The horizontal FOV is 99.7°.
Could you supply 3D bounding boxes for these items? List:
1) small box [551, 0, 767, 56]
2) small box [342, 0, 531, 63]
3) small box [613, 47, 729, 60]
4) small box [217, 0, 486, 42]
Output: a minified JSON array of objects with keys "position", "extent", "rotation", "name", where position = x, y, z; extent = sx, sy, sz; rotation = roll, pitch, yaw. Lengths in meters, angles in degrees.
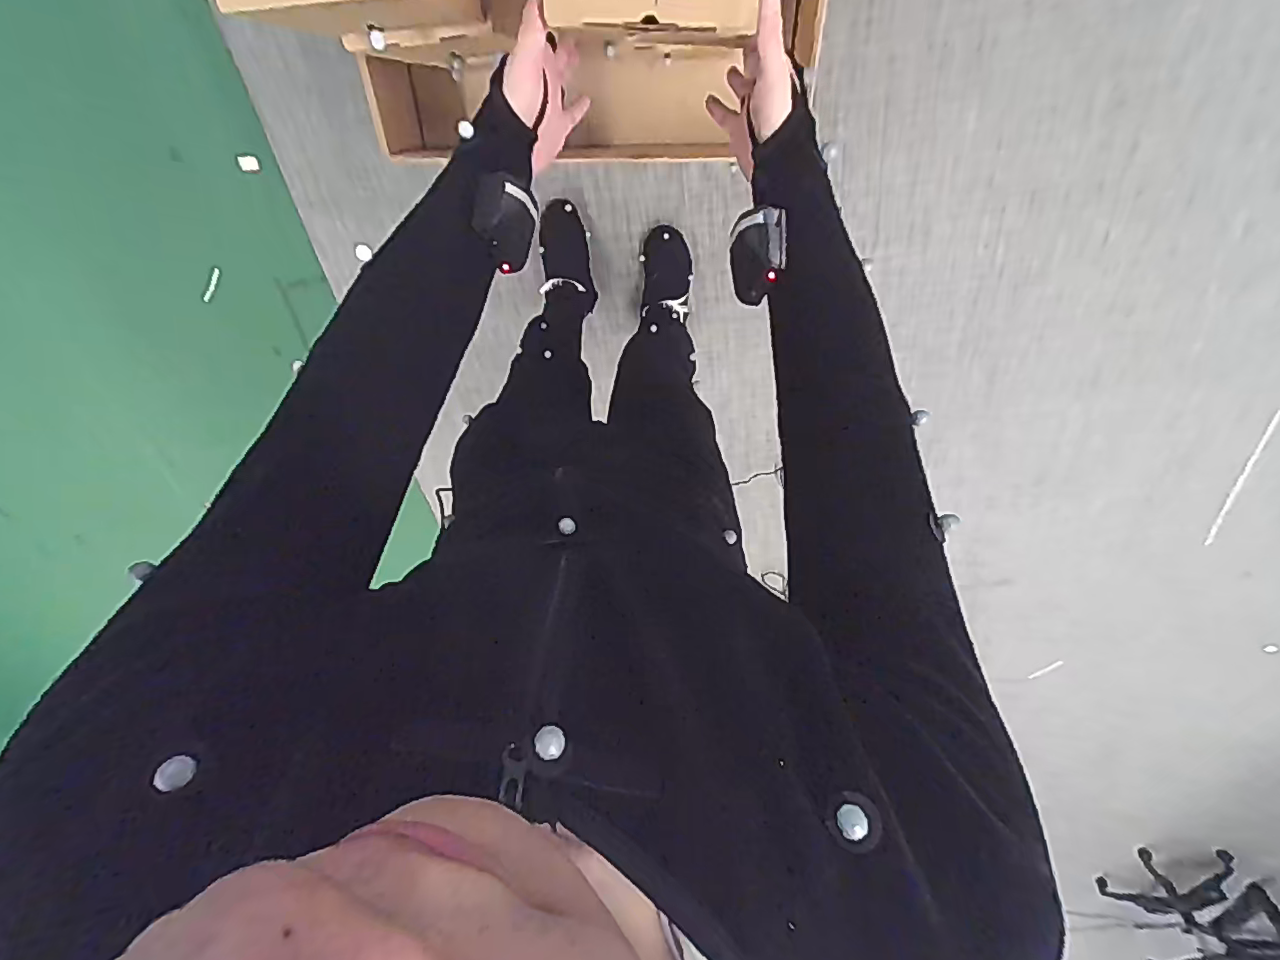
[{"position":[0.024,-0.452,0.429],"extent":[0.168,0.176,0.179],"rotation":[5,127,2],"name":"small box"},{"position":[-0.224,-0.561,0.571],"extent":[0.168,0.176,0.179],"rotation":[-1,126,5],"name":"small box"},{"position":[0.050,-0.652,0.689],"extent":[0.168,0.176,0.179],"rotation":[2,126,4],"name":"small box"},{"position":[-0.240,-0.474,0.432],"extent":[0.168,0.176,0.179],"rotation":[1,125,5],"name":"small box"}]
